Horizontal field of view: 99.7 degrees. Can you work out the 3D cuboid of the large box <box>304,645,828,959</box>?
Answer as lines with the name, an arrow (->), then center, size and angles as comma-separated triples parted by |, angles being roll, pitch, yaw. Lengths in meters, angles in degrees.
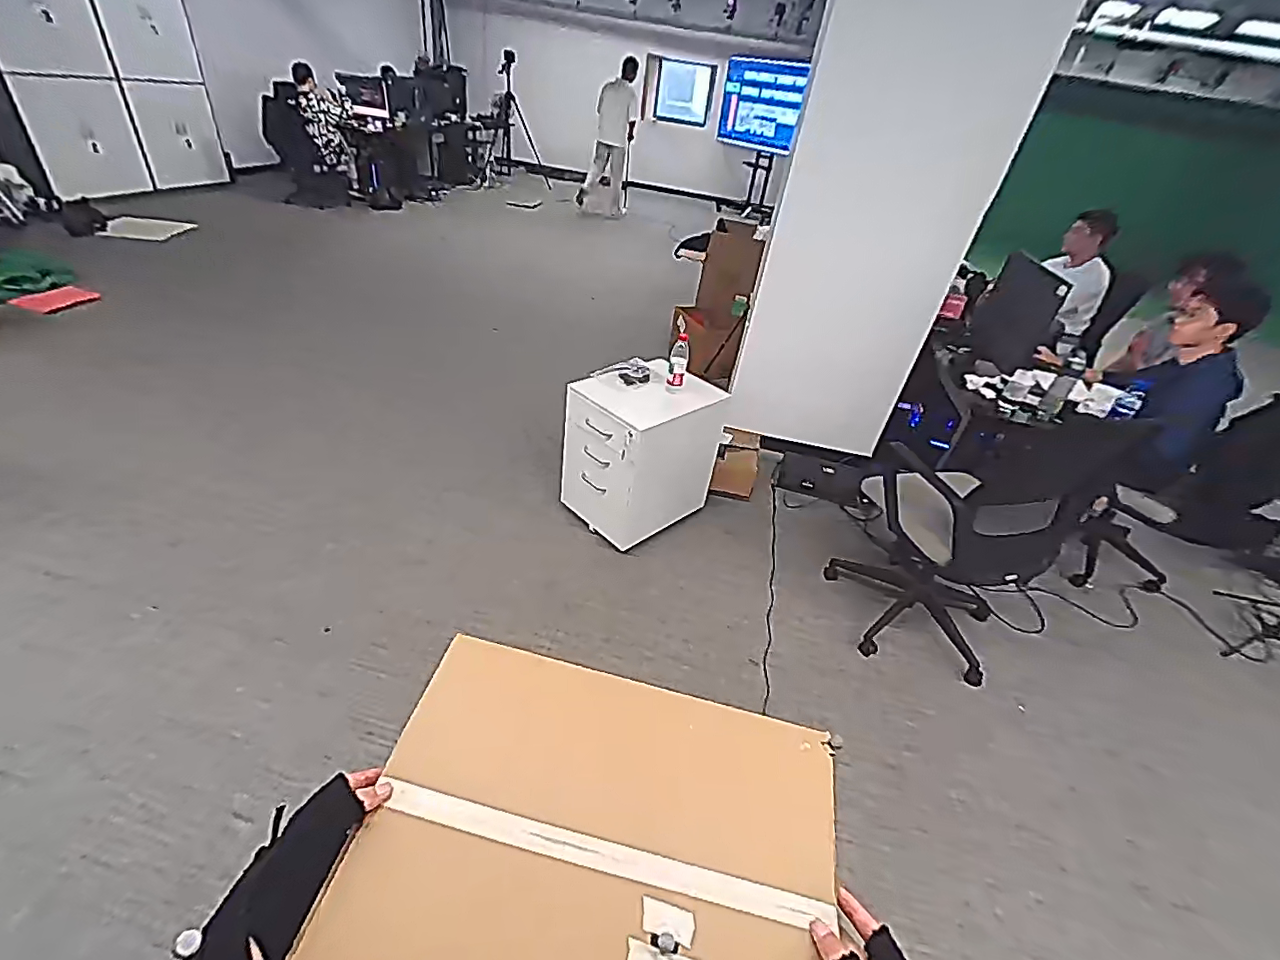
large box -> -0.055, 0.429, 0.571 | 0.408, 0.320, 0.320 | 14, 45, 4
